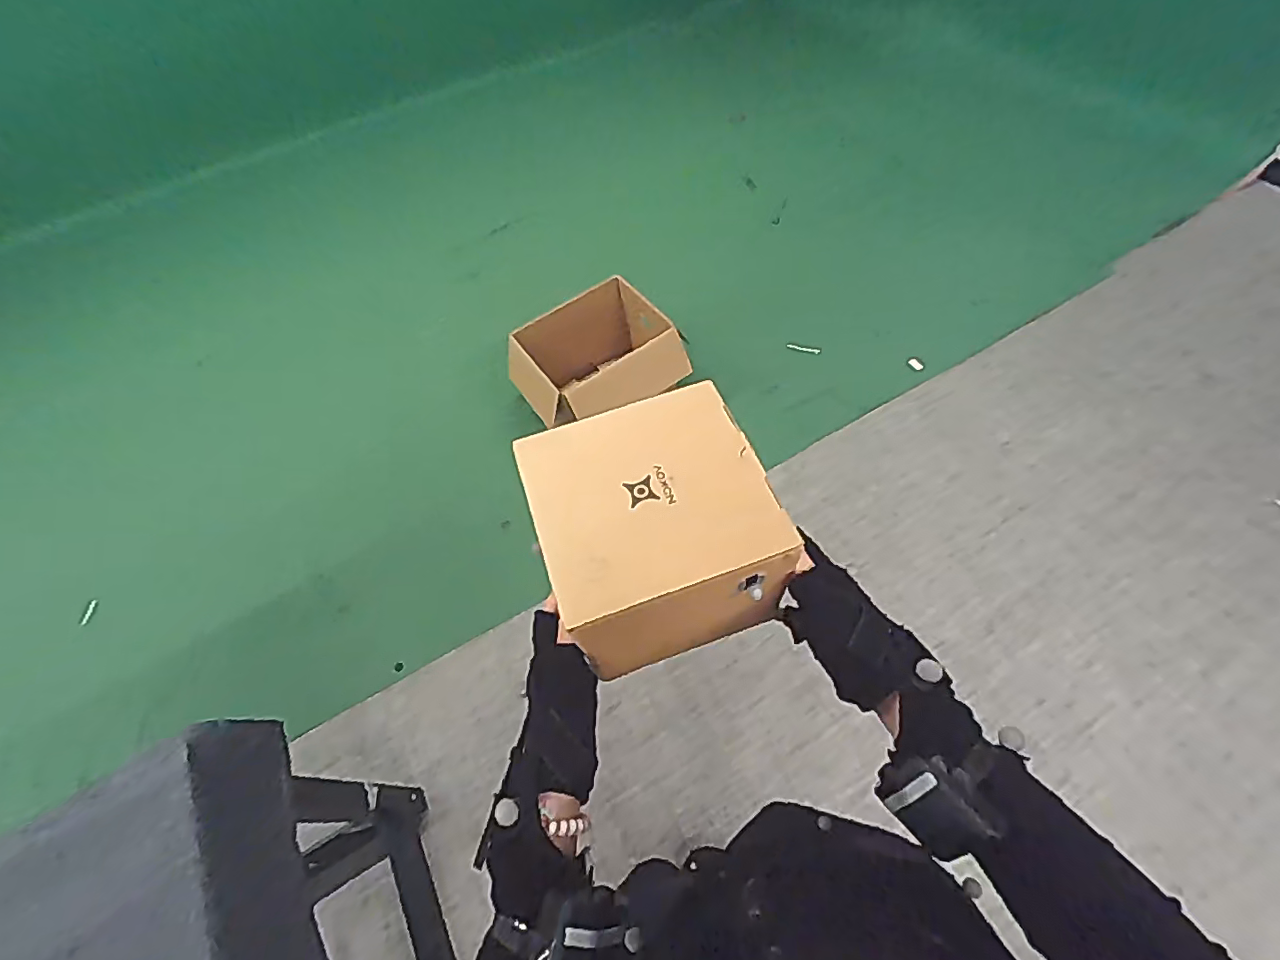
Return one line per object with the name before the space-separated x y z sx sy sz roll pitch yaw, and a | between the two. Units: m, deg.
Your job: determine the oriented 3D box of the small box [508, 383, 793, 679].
small box | 0.006 0.052 0.468 0.179 0.176 0.168 -19 58 -7
